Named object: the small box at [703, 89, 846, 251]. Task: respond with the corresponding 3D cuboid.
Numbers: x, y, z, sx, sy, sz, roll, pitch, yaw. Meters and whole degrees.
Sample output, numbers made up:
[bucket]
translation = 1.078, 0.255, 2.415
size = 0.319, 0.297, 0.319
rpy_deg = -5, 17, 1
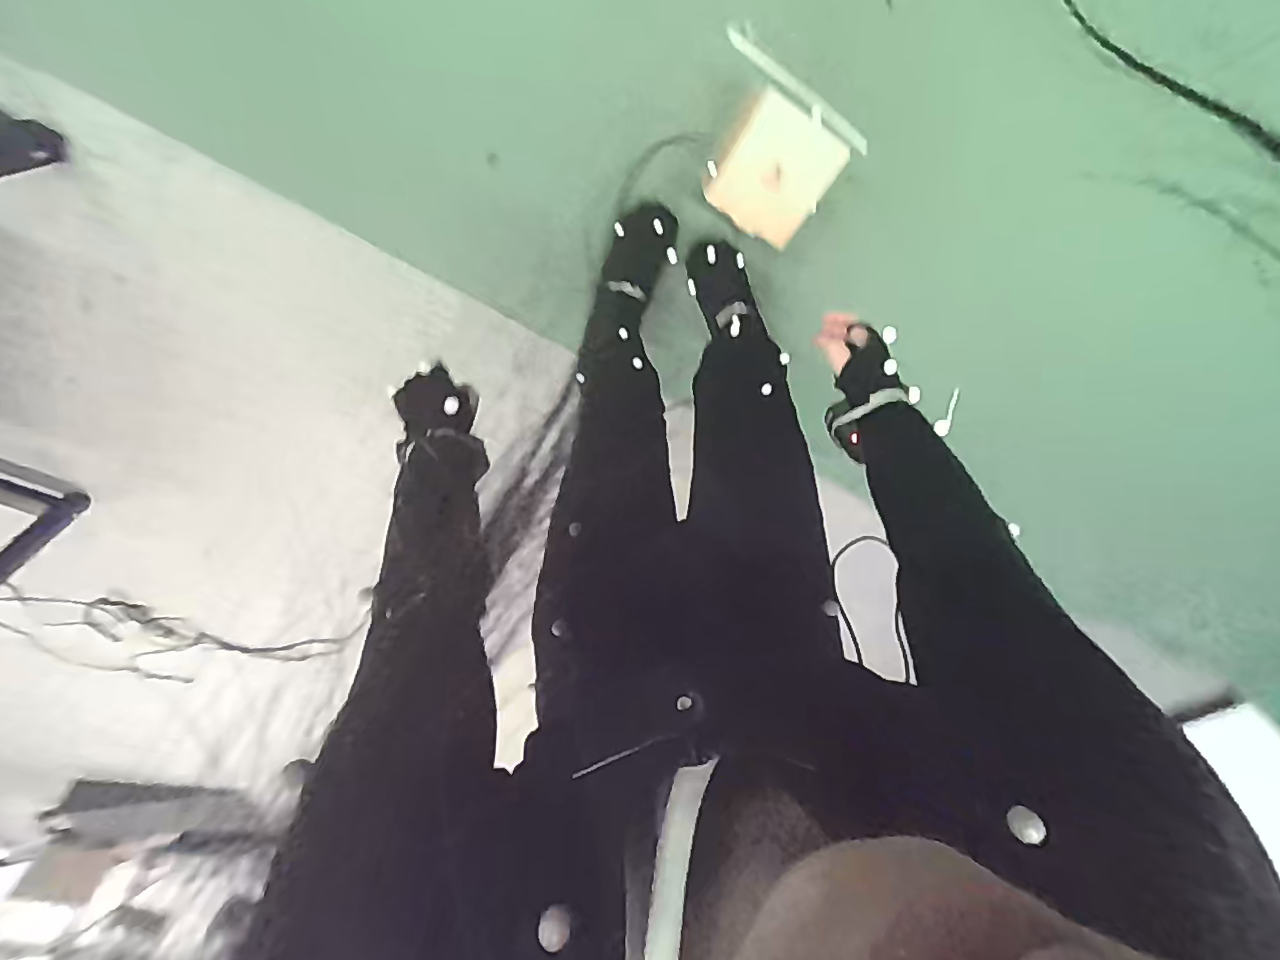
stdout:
[small box]
translation = 0.221, -0.547, 0.949
size = 0.168, 0.176, 0.179
rpy_deg = 24, 128, -18
